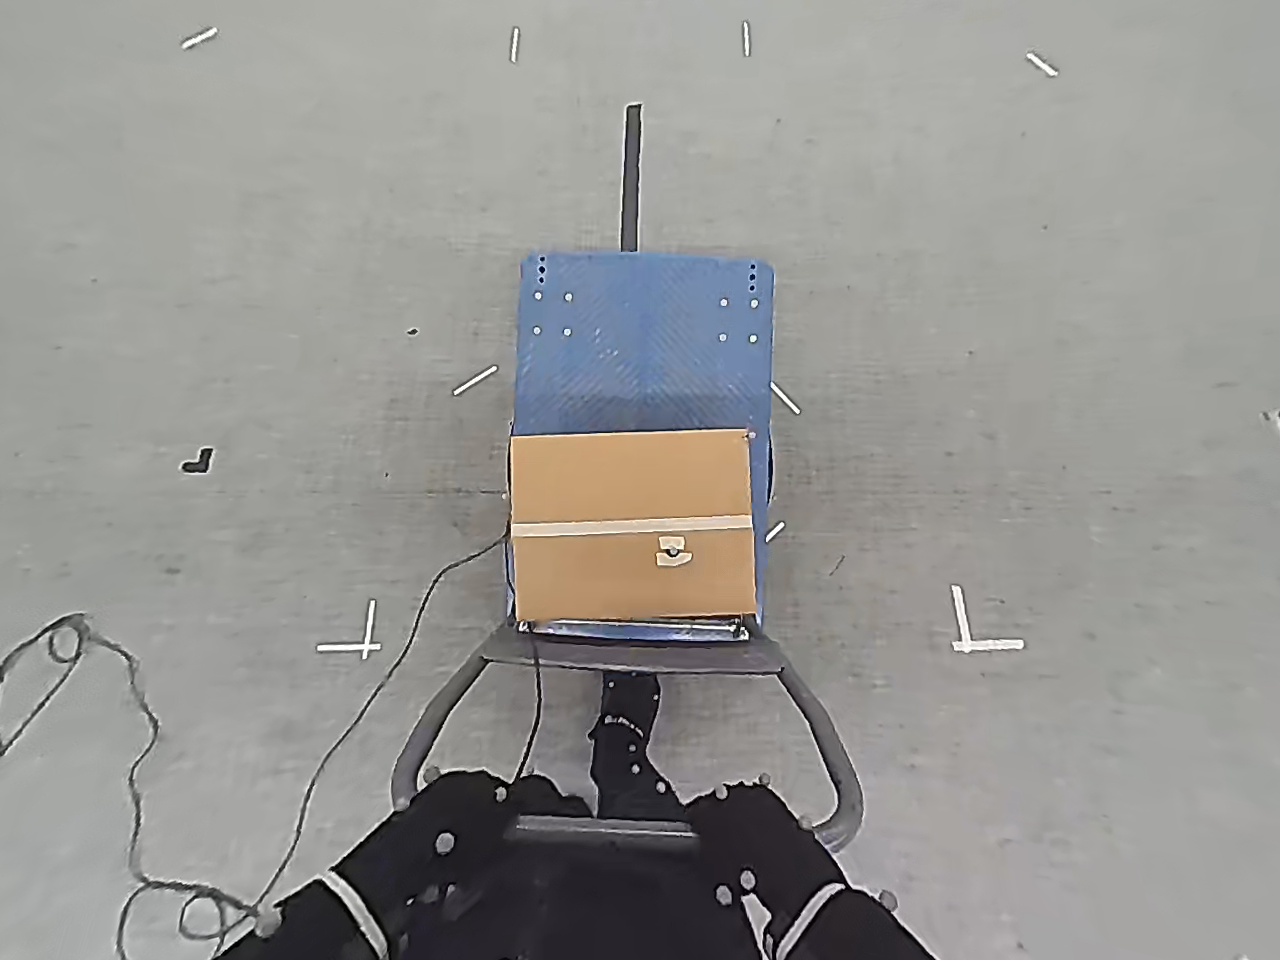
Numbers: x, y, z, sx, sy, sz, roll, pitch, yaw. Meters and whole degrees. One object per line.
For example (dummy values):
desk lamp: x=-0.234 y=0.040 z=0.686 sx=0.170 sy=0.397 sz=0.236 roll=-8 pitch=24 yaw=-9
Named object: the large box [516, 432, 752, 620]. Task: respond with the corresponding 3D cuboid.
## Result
large box: x=-0.014 y=0.083 z=1.080 sx=0.408 sy=0.320 sz=0.320 roll=-2 pitch=89 yaw=-1
